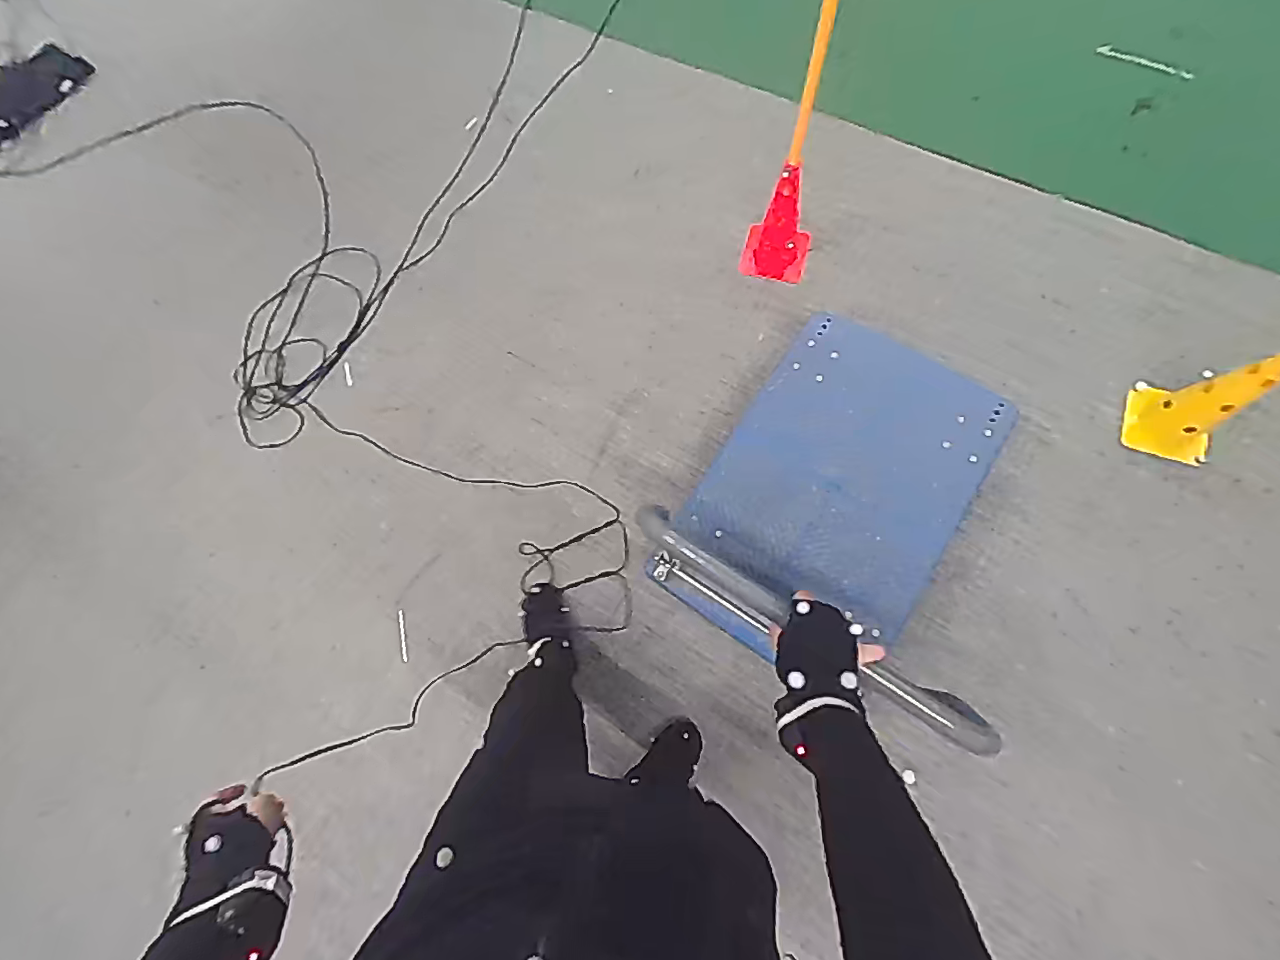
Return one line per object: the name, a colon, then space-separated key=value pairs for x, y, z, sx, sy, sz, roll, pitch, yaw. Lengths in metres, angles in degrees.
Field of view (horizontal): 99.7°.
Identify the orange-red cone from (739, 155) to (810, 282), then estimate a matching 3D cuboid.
orange-red cone: x=0.415 y=-0.784 z=1.584 sx=0.199 sy=0.360 sz=0.198 roll=15 pitch=75 yaw=12
